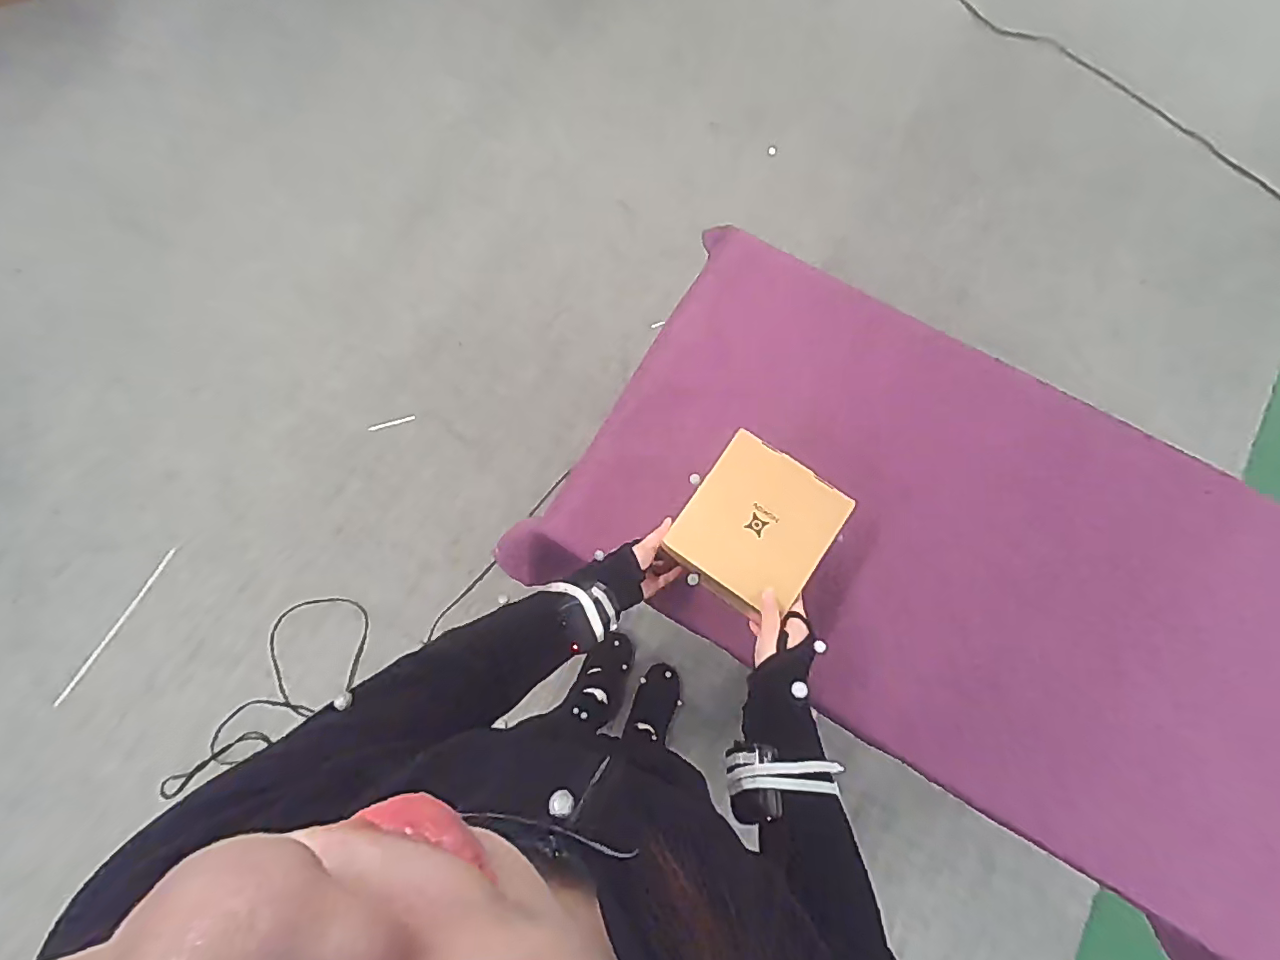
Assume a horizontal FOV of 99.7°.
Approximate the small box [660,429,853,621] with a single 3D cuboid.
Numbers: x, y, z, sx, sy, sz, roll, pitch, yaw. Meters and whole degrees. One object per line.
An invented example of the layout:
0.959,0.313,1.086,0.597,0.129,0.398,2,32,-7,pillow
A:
0.142,0.068,0.714,0.168,0.176,0.179,35,79,9,small box
